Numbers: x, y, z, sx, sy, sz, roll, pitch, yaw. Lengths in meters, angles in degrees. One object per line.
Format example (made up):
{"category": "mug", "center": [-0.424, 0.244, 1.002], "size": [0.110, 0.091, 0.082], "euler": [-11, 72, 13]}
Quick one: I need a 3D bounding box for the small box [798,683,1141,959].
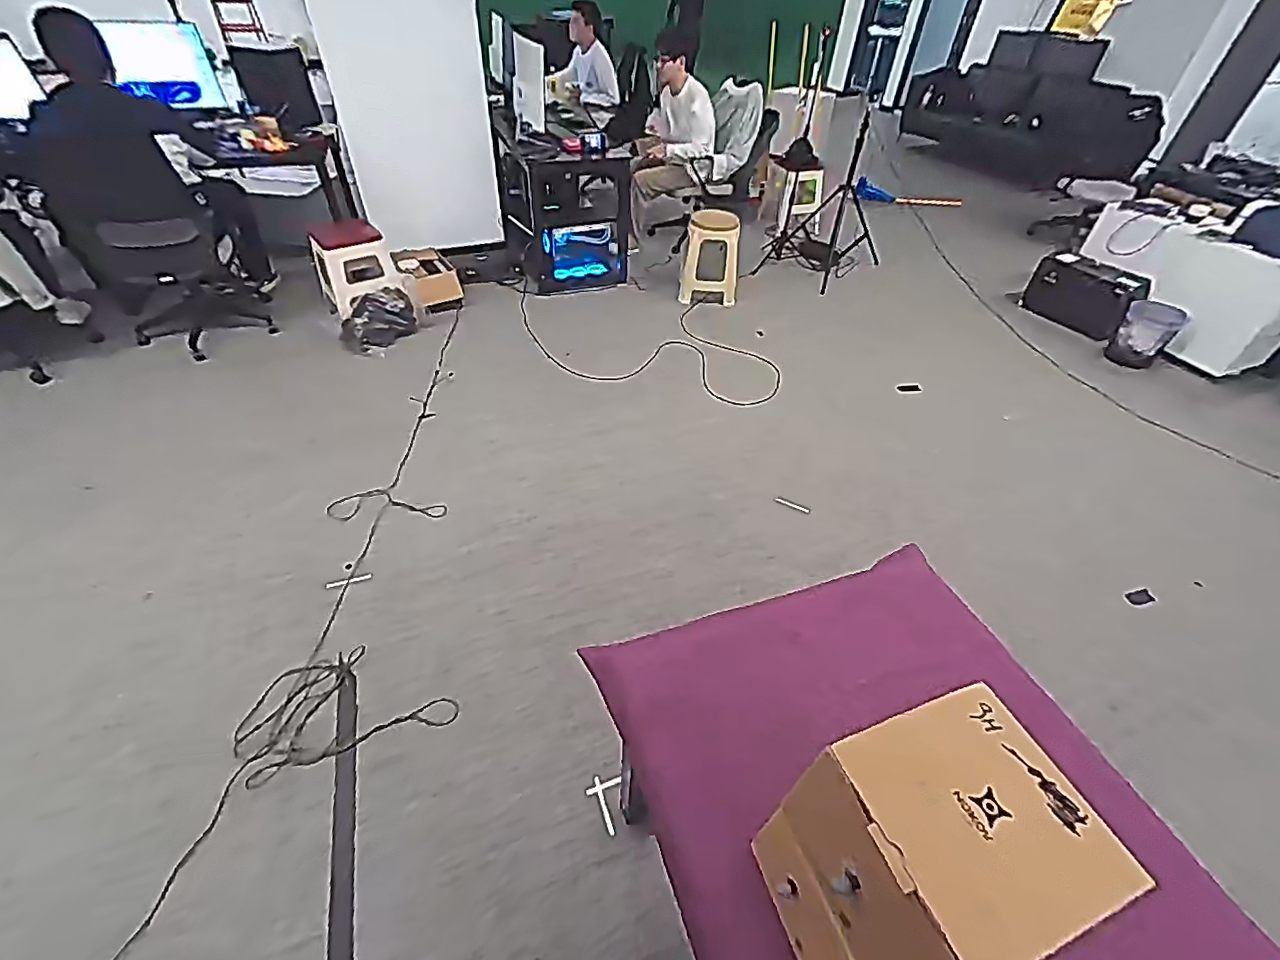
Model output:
{"category": "small box", "center": [0.262, 0.319, 0.484], "size": [0.179, 0.176, 0.168], "euler": [-13, 46, -17]}

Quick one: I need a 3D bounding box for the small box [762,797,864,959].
{"category": "small box", "center": [0.250, 0.440, 0.594], "size": [0.179, 0.176, 0.168], "euler": [-11, 46, -16]}
